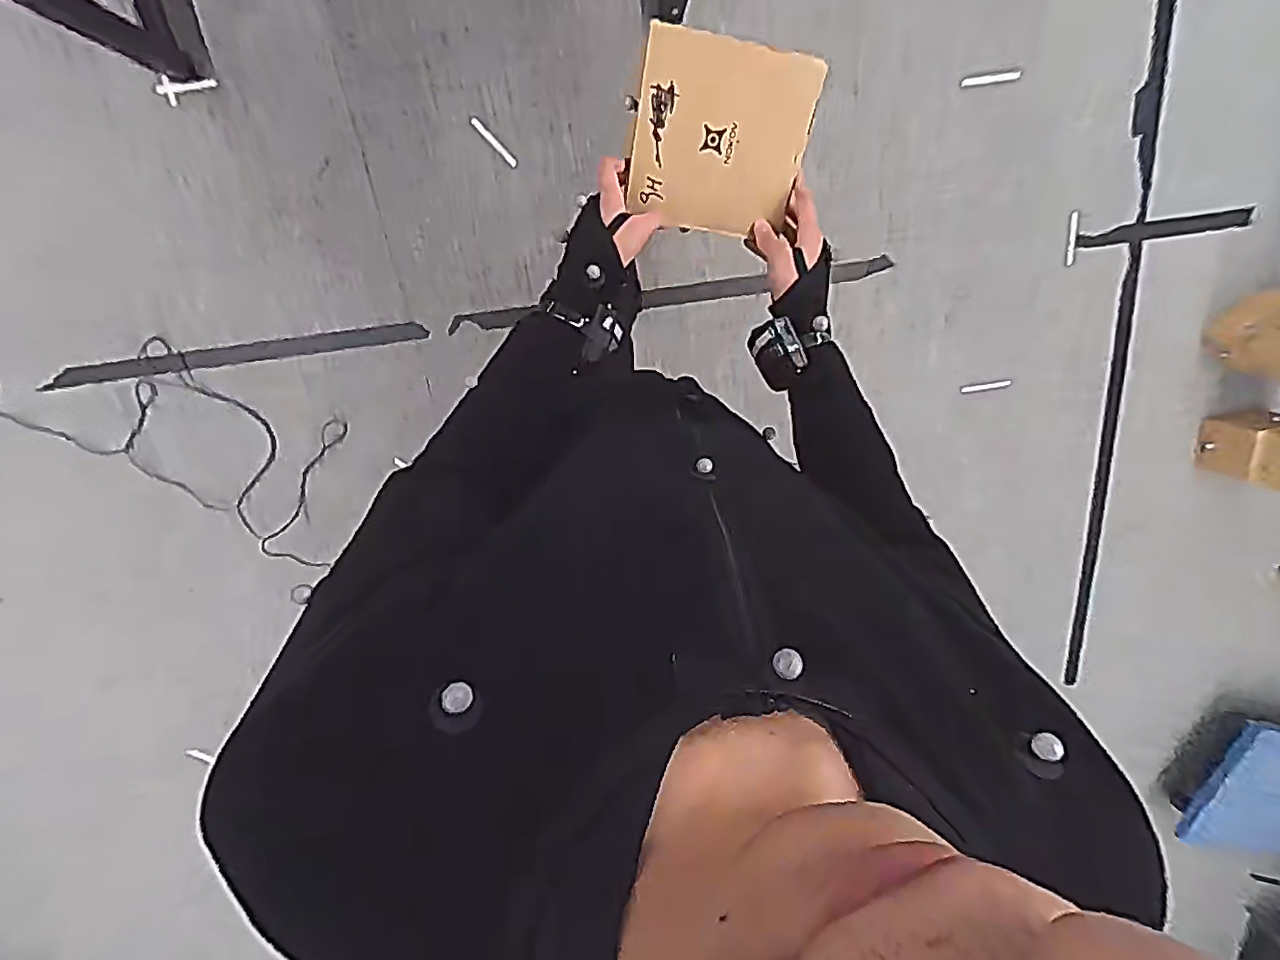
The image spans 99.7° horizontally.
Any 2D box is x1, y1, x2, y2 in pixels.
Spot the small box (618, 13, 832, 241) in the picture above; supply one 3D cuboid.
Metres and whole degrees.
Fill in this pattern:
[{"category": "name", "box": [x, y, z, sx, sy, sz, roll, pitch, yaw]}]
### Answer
[{"category": "small box", "box": [0.077, -0.381, 0.604, 0.179, 0.176, 0.168, 7, 120, -9]}]
